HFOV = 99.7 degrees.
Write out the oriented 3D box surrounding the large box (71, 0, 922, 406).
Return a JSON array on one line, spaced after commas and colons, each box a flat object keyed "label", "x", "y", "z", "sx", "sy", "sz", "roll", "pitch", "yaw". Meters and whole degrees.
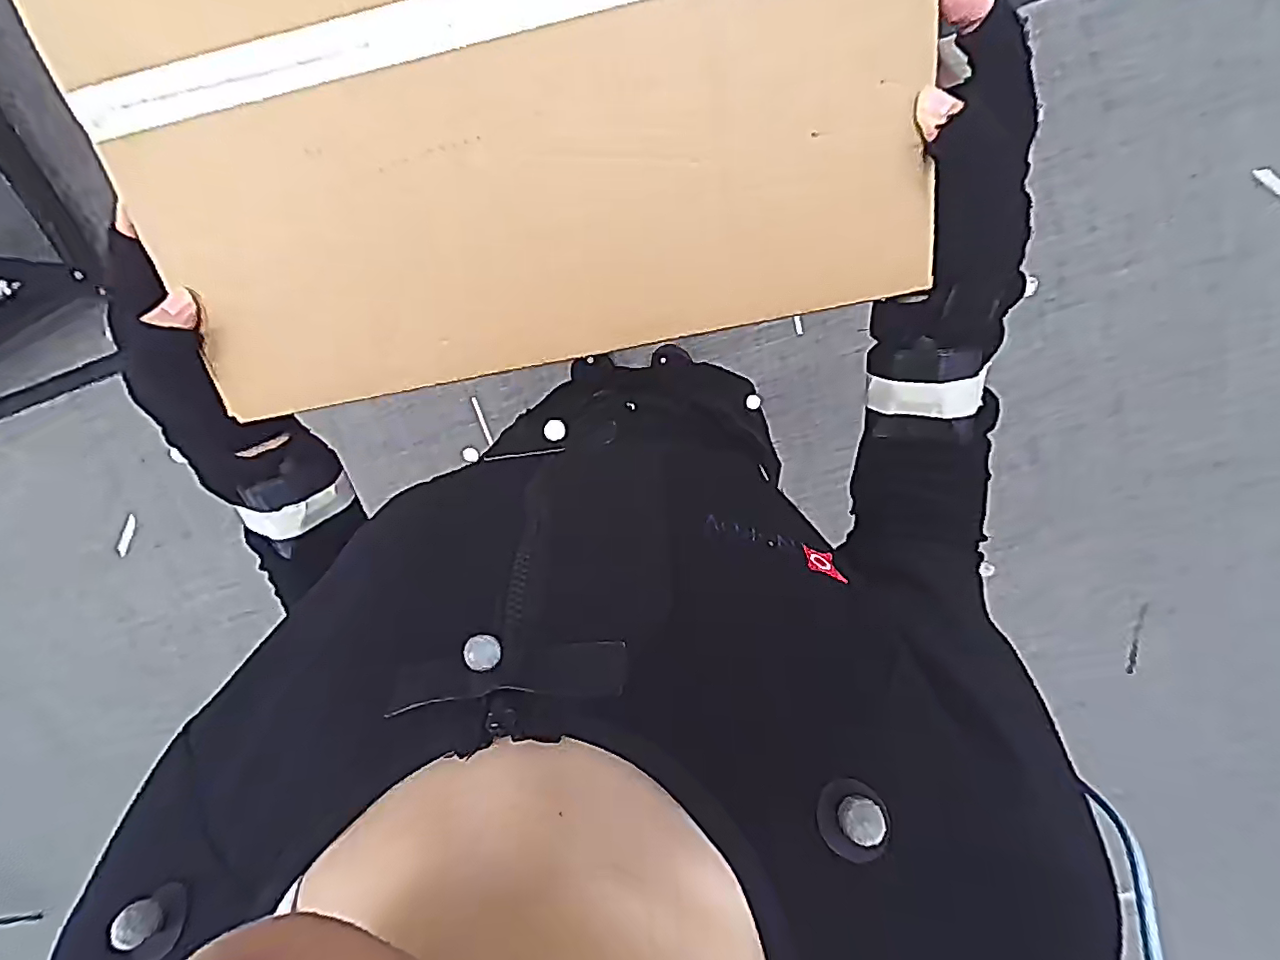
[{"label": "large box", "x": -0.068, "y": -0.274, "z": 0.397, "sx": 0.408, "sy": 0.320, "sz": 0.320, "roll": -10, "pitch": 113, "yaw": 5}]
